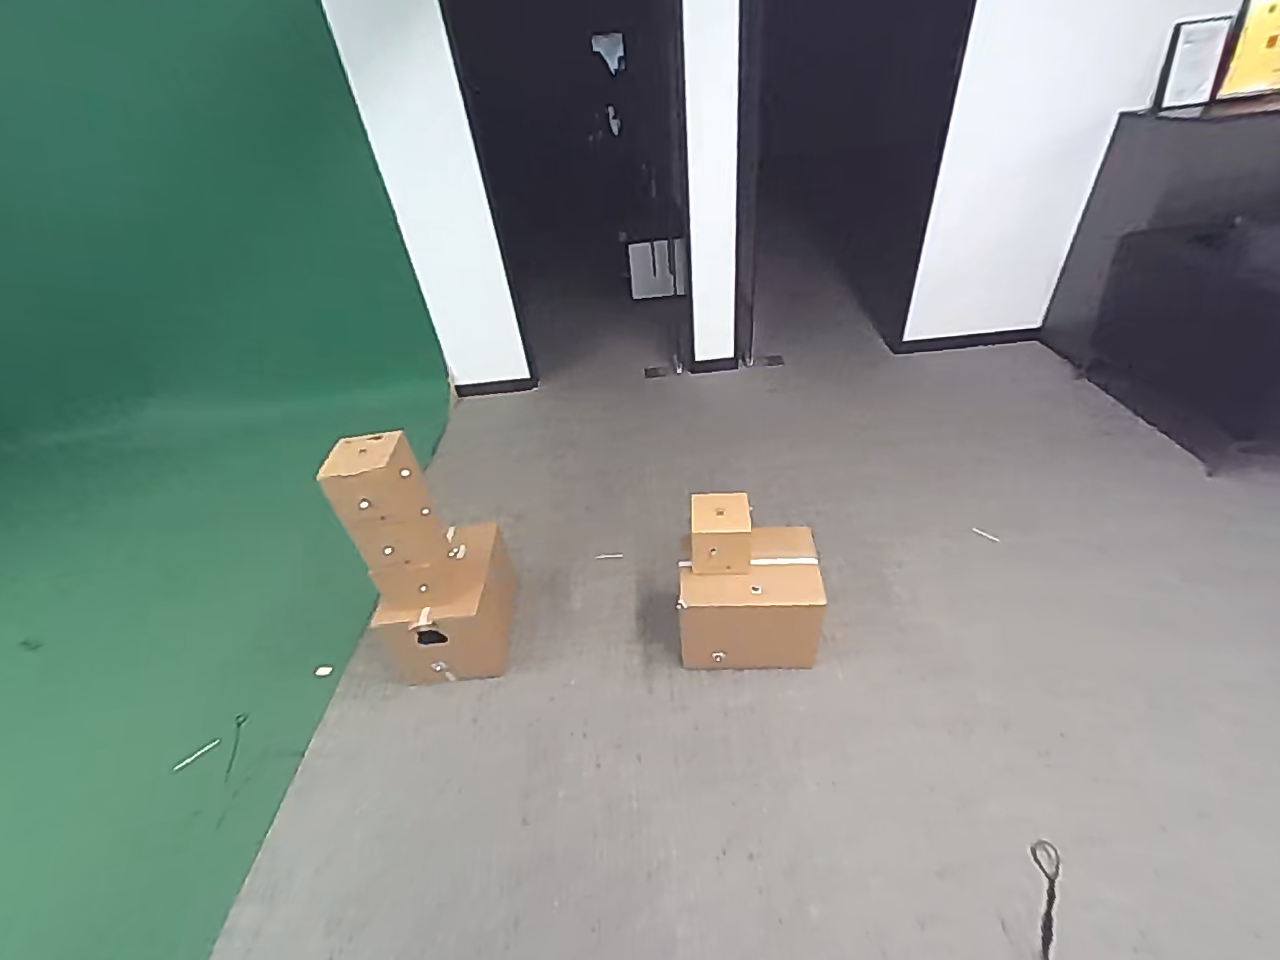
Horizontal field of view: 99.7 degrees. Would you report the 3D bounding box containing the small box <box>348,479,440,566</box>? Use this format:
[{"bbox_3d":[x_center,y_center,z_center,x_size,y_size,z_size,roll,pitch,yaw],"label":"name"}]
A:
[{"bbox_3d":[-0.669,0.121,1.495,0.168,0.176,0.179,-9,37,-3],"label":"small box"}]

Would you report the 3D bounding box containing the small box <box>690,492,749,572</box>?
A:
[{"bbox_3d":[0.232,0.156,1.585,0.168,0.176,0.179,-1,36,6],"label":"small box"}]

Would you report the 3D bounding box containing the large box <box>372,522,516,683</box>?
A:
[{"bbox_3d":[-0.618,0.400,1.795,0.320,0.320,0.408,-6,37,1],"label":"large box"}]

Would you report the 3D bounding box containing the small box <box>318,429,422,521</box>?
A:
[{"bbox_3d":[-0.682,-0.008,1.393,0.168,0.176,0.179,-8,38,-1],"label":"small box"}]

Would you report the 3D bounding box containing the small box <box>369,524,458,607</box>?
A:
[{"bbox_3d":[-0.654,0.253,1.590,0.179,0.176,0.168,-7,37,1],"label":"small box"}]
